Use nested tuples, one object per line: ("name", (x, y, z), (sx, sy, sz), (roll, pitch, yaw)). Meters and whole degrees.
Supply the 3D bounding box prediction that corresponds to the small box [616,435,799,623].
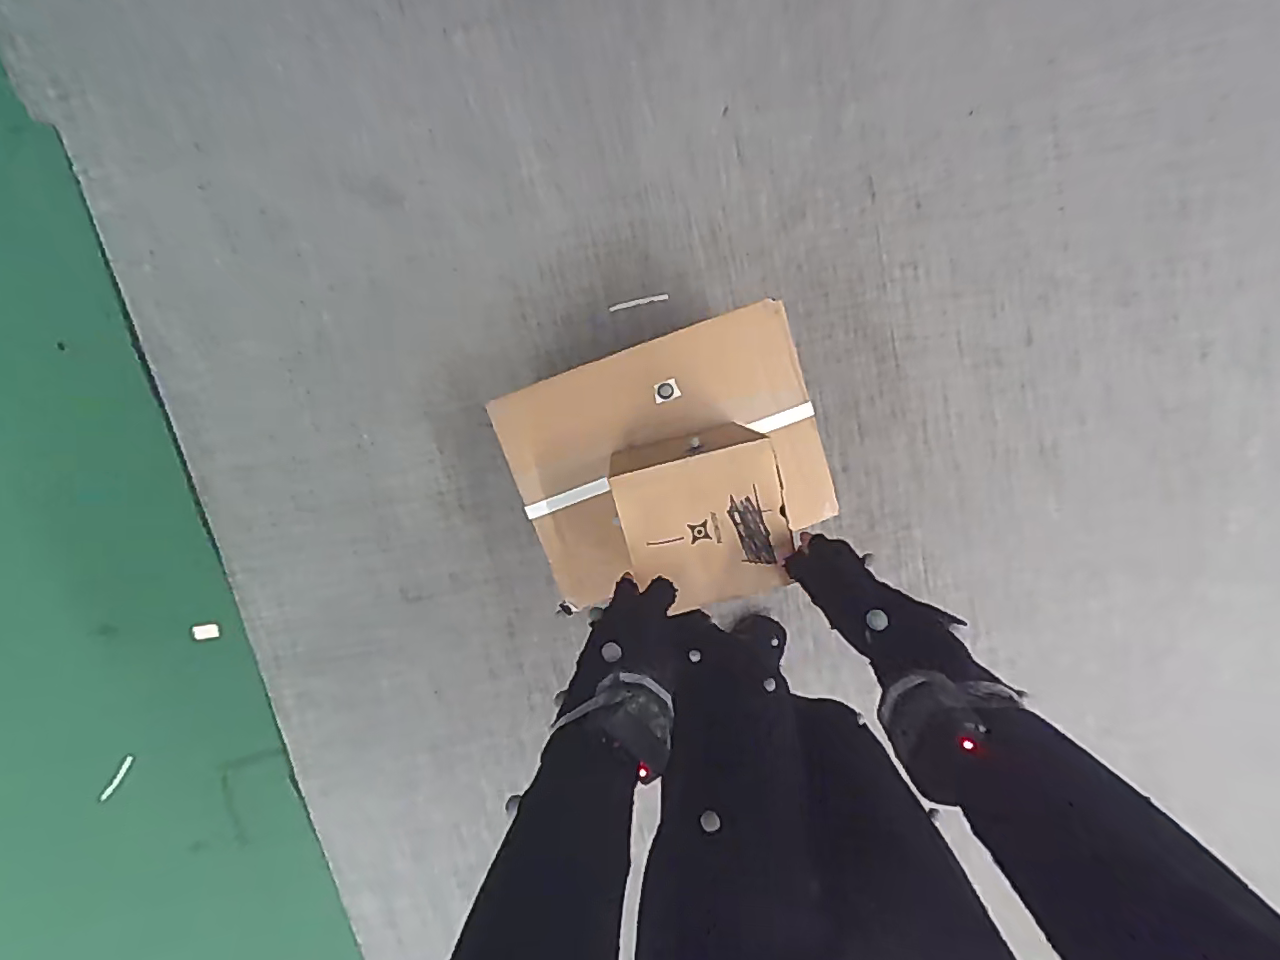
("small box", (0.071, 0.047, 0.660), (0.179, 0.176, 0.168), (-14, 100, 1))
